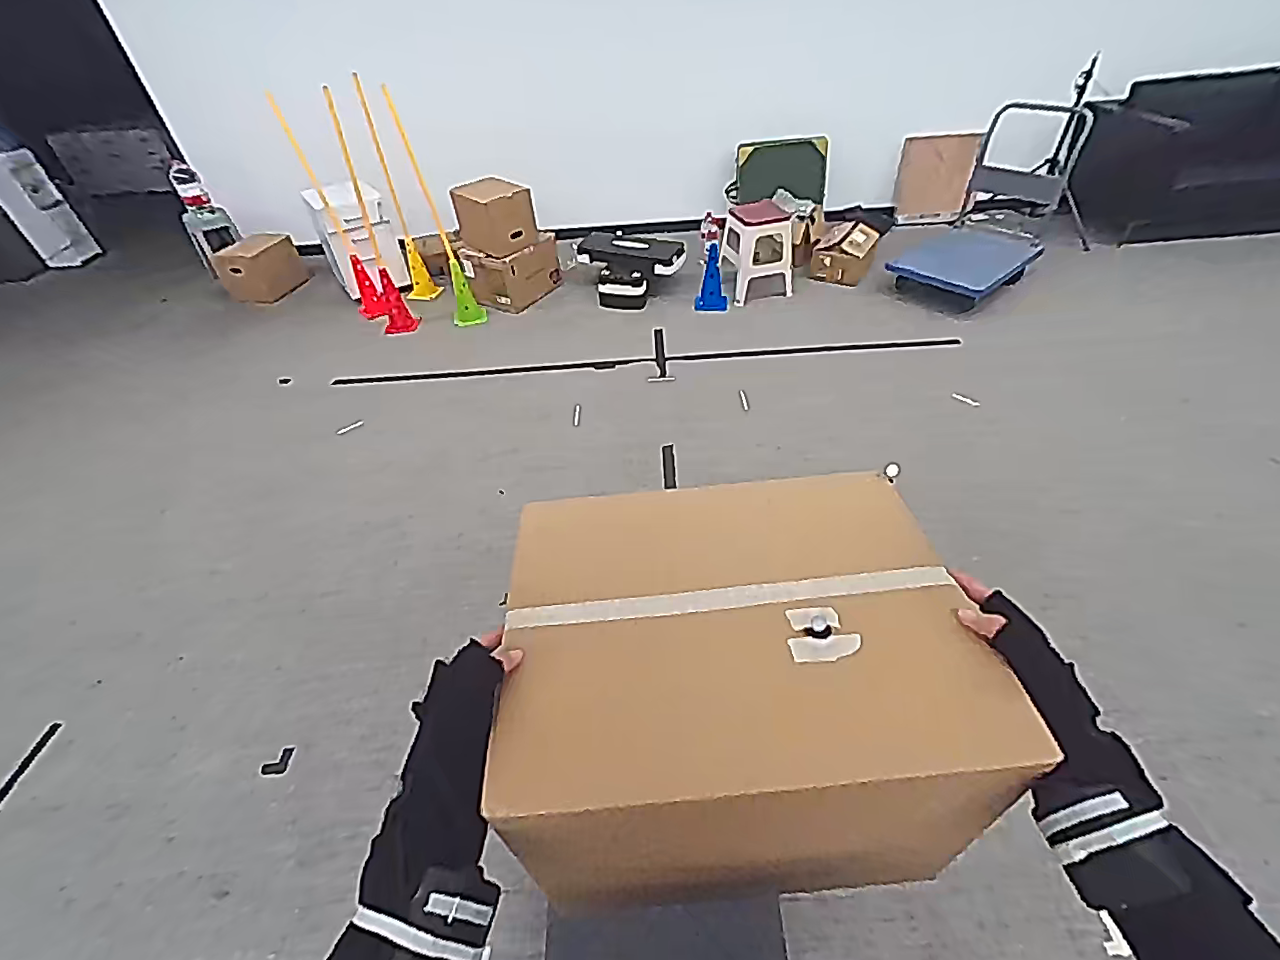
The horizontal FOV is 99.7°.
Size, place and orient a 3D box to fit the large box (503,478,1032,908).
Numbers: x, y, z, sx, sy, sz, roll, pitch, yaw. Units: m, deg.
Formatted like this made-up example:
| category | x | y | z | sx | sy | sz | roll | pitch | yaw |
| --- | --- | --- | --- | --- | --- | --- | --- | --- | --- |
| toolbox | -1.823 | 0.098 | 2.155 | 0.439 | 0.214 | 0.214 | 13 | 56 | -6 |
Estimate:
| category | x | y | z | sx | sy | sz | roll | pitch | yaw |
| --- | --- | --- | --- | --- | --- | --- | --- | --- | --- |
| large box | 0.093 | 0.230 | 0.602 | 0.408 | 0.320 | 0.320 | -6 | 41 | 0 |
